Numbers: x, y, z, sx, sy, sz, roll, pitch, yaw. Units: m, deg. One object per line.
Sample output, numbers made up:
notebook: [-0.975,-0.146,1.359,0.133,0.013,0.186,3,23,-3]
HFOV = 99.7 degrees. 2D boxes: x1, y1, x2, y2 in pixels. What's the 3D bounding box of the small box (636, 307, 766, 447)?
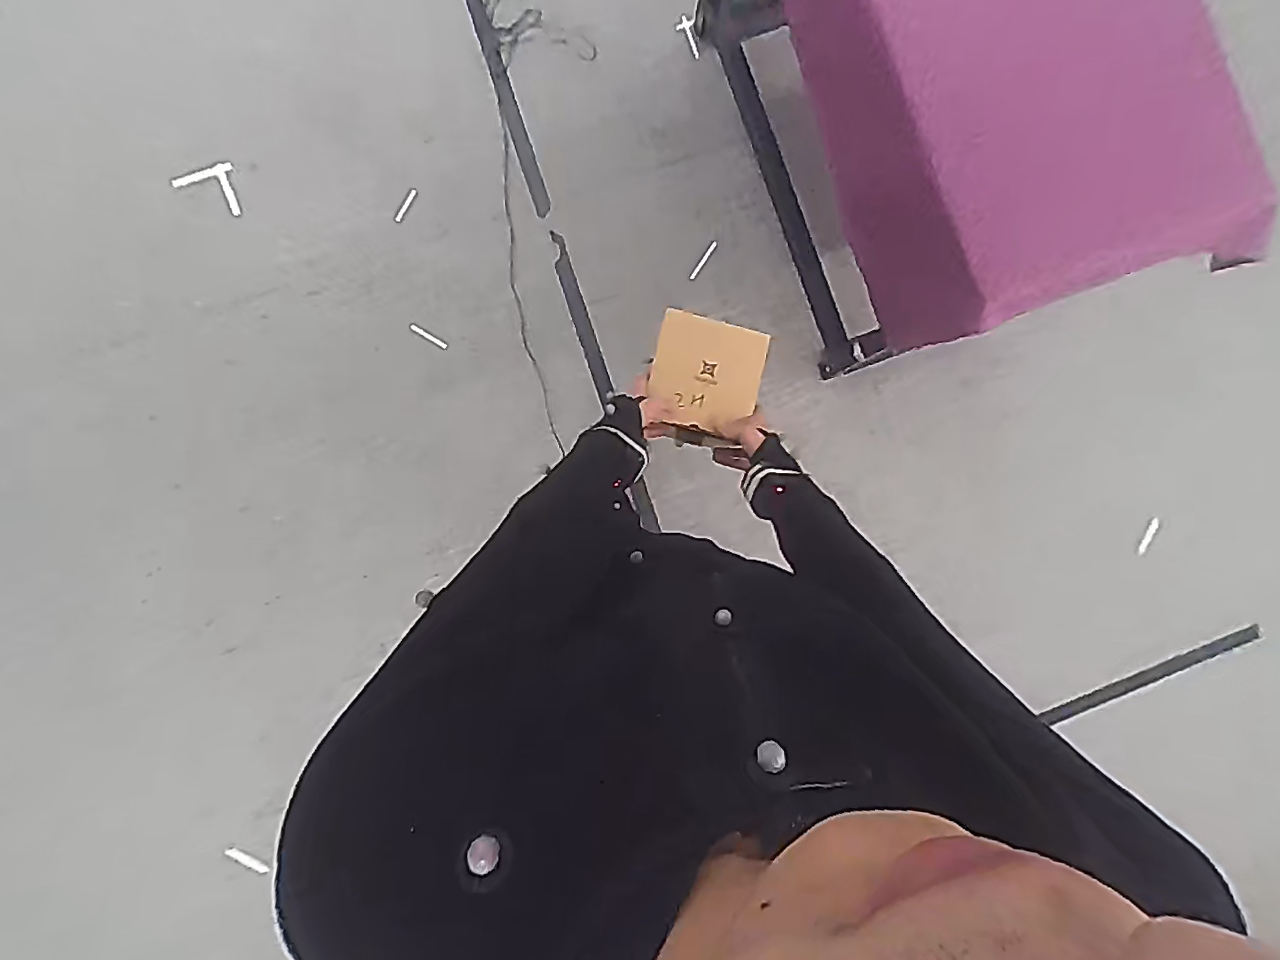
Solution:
small box: [0.091,-0.160,0.902,0.168,0.176,0.179,14,90,-2]
